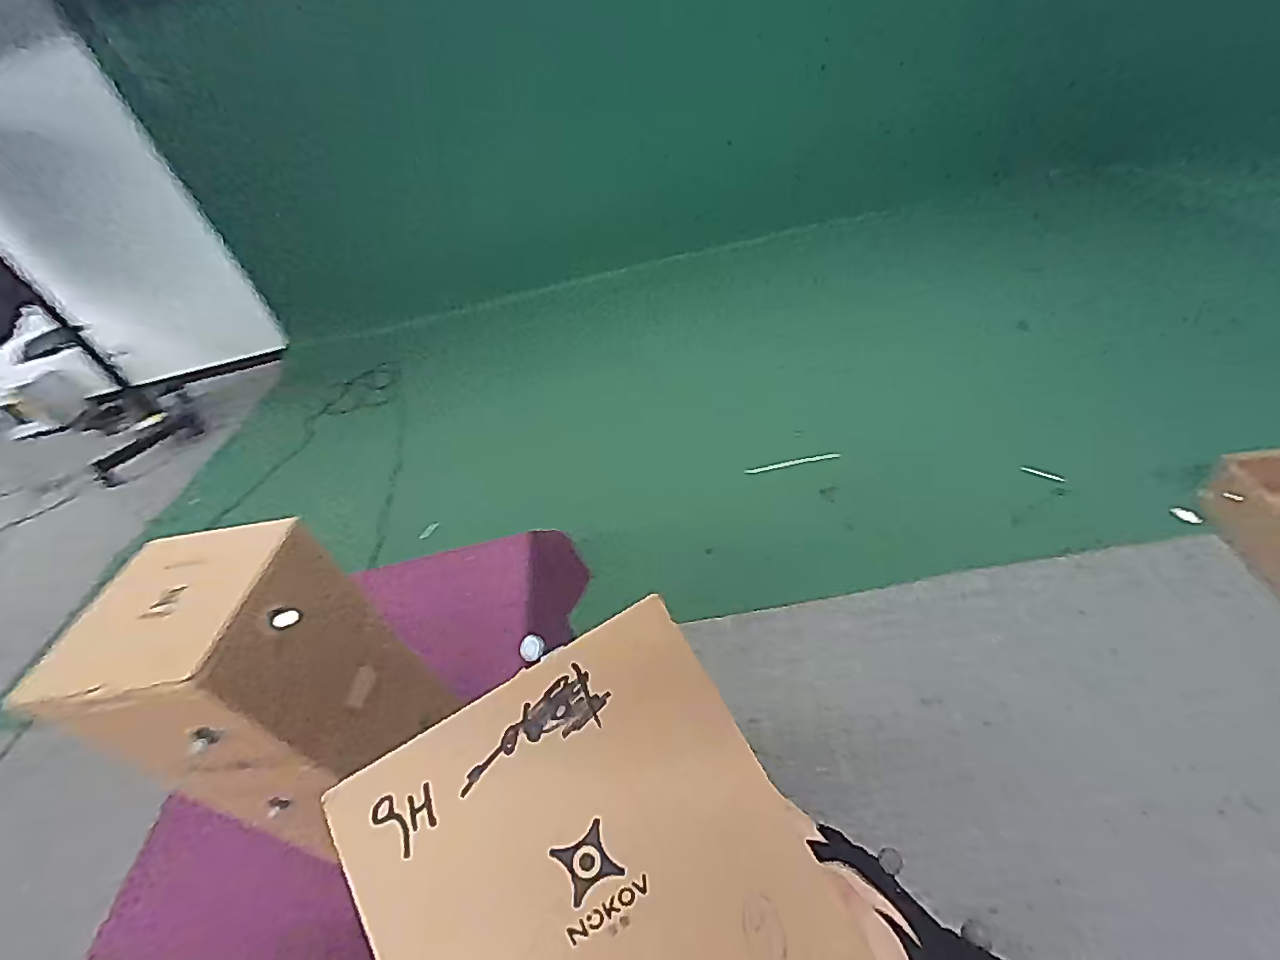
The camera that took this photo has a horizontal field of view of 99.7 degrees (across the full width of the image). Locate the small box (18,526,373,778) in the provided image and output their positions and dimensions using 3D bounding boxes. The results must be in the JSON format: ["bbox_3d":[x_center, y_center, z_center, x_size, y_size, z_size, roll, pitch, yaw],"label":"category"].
[{"bbox_3d":[-0.399,0.174,0.532,0.168,0.176,0.179,-9,41,8],"label":"small box"}]

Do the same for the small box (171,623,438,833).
[{"bbox_3d":[-0.367,0.294,0.637,0.179,0.176,0.168,-12,41,8],"label":"small box"}]

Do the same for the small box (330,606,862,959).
[{"bbox_3d":[-0.021,0.189,0.297,0.168,0.176,0.179,-29,75,-11],"label":"small box"}]
